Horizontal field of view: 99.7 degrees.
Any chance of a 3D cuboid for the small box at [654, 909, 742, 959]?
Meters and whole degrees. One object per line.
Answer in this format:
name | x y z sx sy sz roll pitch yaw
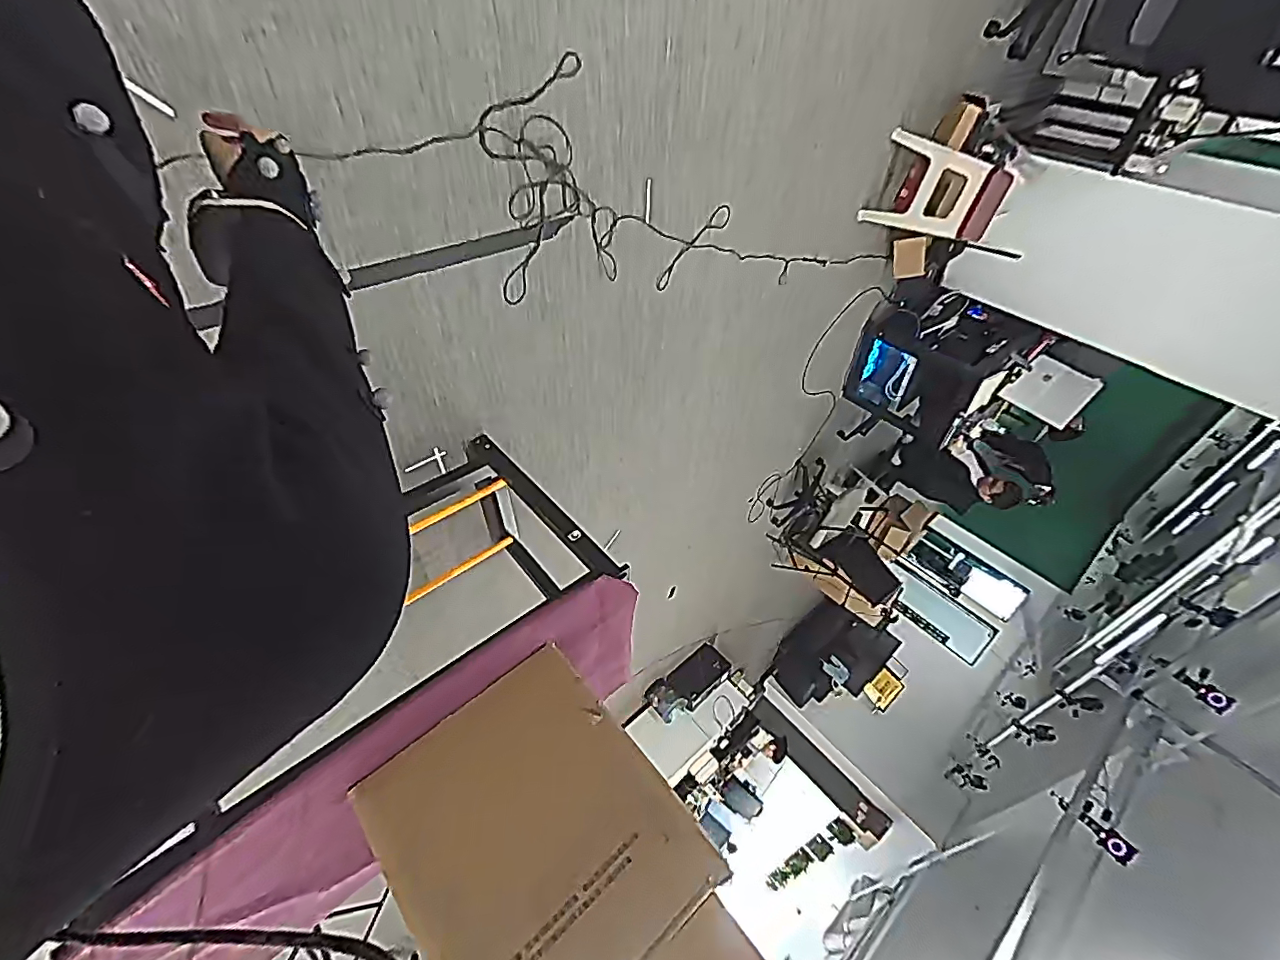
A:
small box | 0.127 1.050 1.136 0.168 0.176 0.179 -32 145 -27
